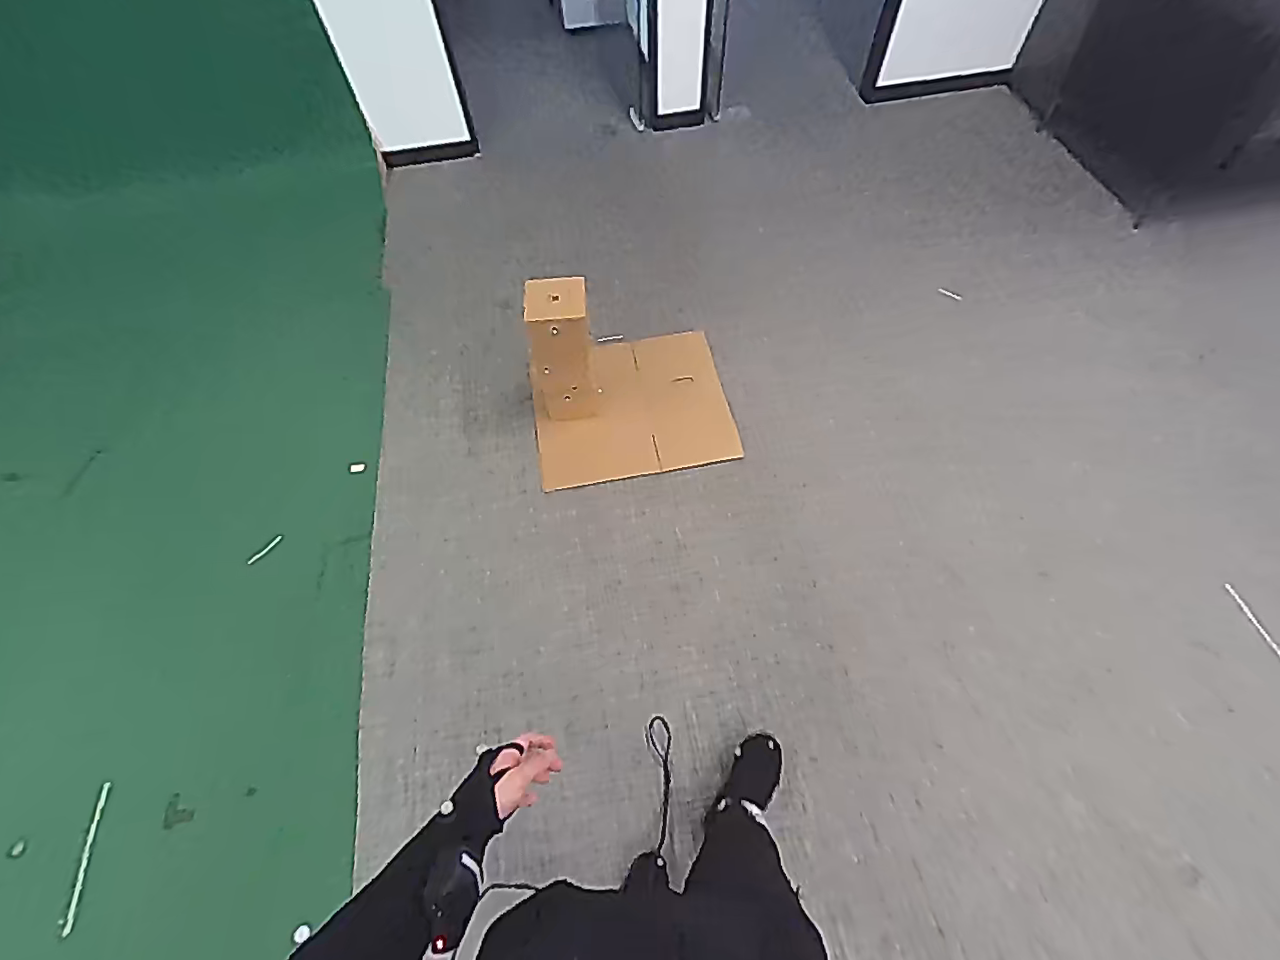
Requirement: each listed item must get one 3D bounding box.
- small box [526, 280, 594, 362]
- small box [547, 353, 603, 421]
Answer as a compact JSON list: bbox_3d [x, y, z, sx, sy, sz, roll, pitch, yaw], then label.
[{"bbox_3d":[-0.234,-0.471,1.621,0.179,0.176,0.168,-4,61,0],"label":"small box"},{"bbox_3d":[-0.228,-0.323,1.913,0.179,0.176,0.168,-6,60,-2],"label":"small box"}]
